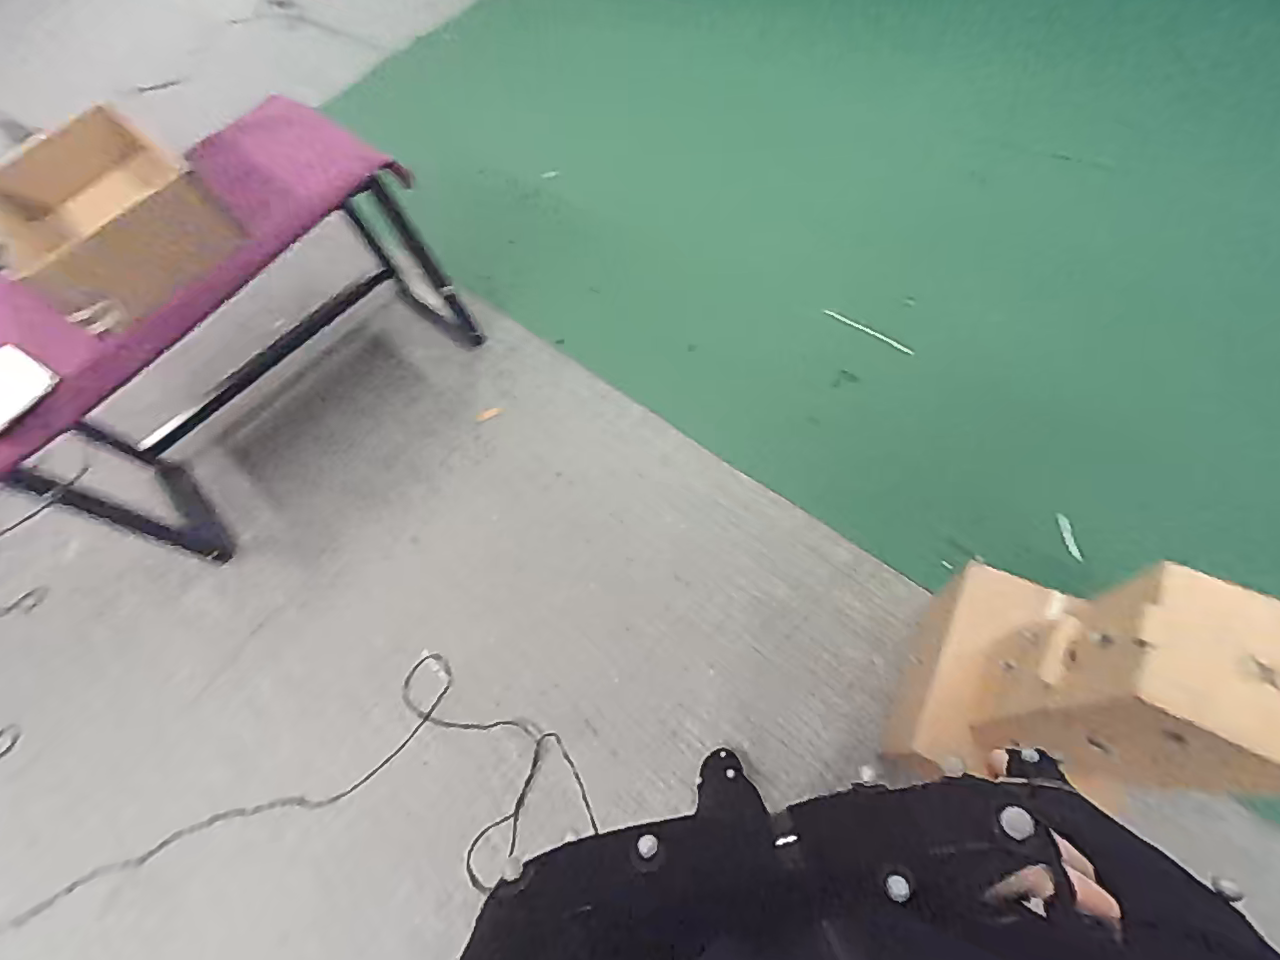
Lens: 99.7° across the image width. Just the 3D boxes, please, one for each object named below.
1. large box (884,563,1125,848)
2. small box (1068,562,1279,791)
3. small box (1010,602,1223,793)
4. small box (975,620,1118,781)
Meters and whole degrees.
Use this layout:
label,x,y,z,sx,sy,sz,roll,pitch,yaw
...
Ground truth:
label,x,y,z,sx,sy,sz,roll,pitch,yaw
large box,0.745,0.451,1.116,0.320,0.320,0.408,23,69,20
small box,0.627,0.224,0.602,0.179,0.176,0.168,26,71,25
small box,0.655,0.300,0.745,0.179,0.176,0.168,27,72,24
small box,0.687,0.364,0.893,0.168,0.176,0.179,25,71,24
